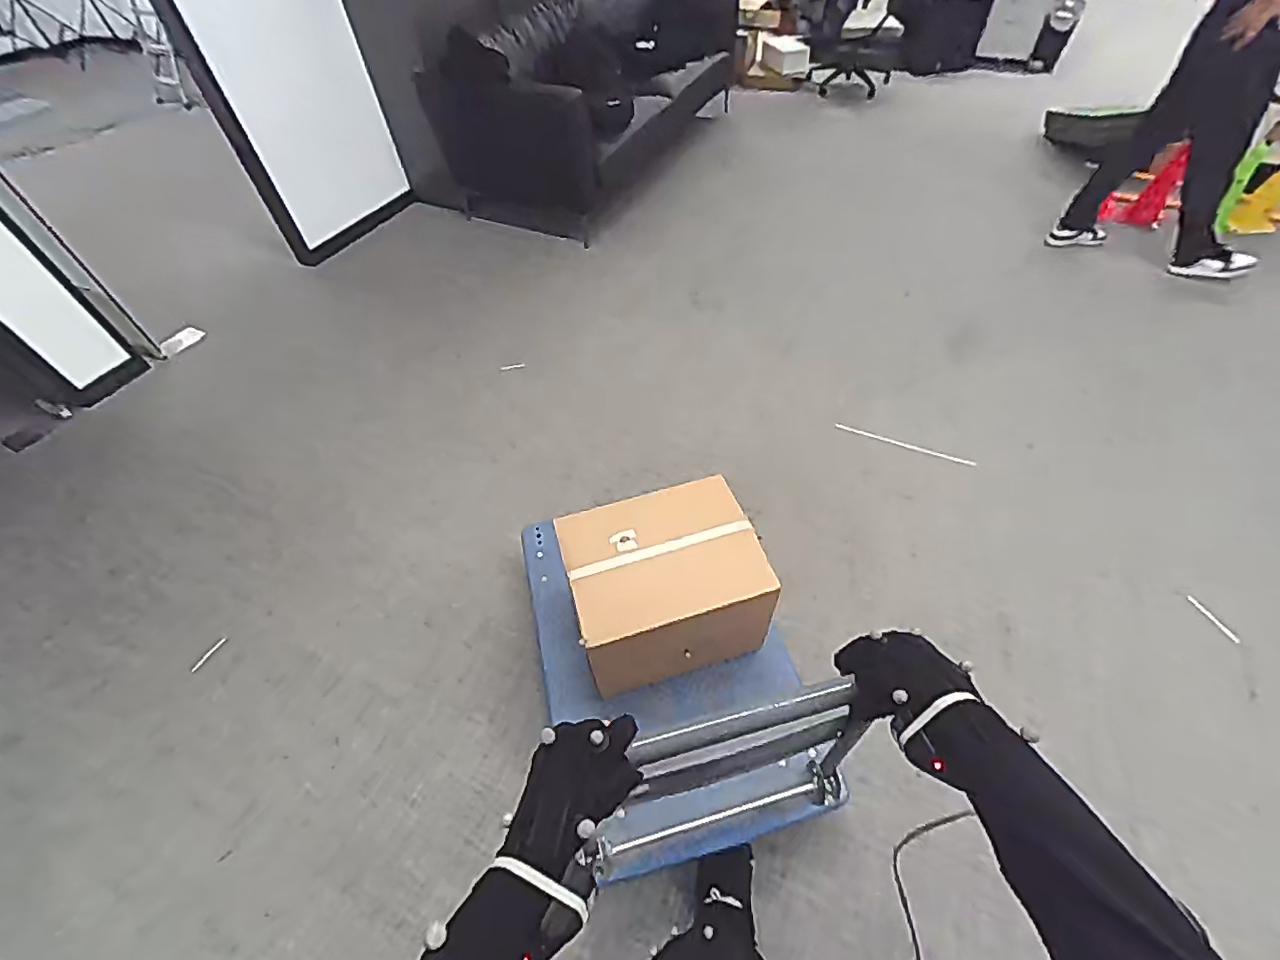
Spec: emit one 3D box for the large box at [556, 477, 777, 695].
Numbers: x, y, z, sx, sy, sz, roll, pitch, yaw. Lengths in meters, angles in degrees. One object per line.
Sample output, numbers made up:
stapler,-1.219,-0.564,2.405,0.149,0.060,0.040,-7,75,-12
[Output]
large box,0.054,0.249,1.261,0.408,0.320,0.320,-16,52,-9
